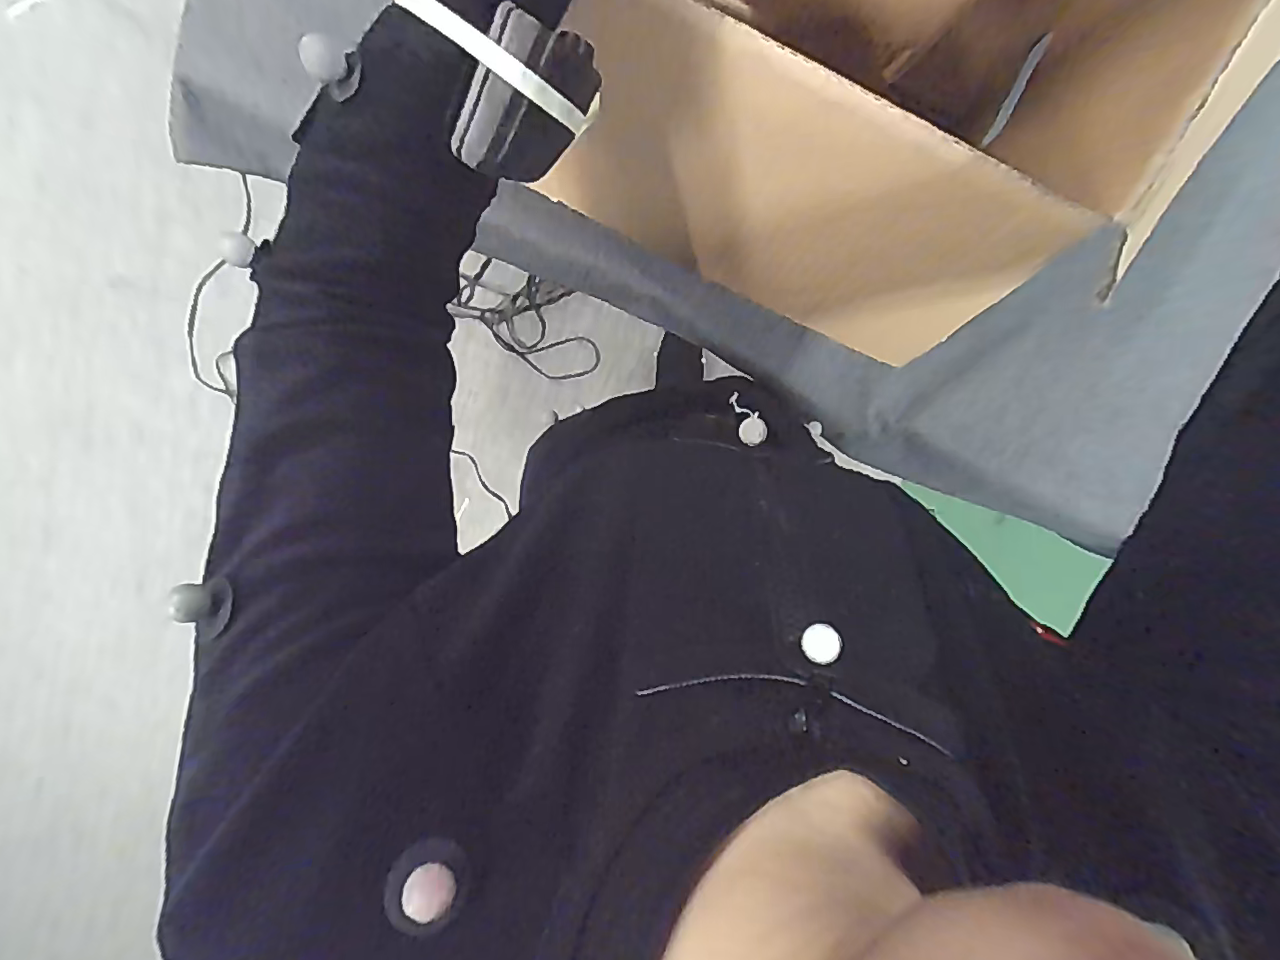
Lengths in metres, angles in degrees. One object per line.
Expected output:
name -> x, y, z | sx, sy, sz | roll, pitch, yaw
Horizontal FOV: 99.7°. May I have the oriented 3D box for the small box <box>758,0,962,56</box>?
small box -> 0.126, -0.352, 0.256 | 0.179, 0.176, 0.168 | 24, 104, -5
